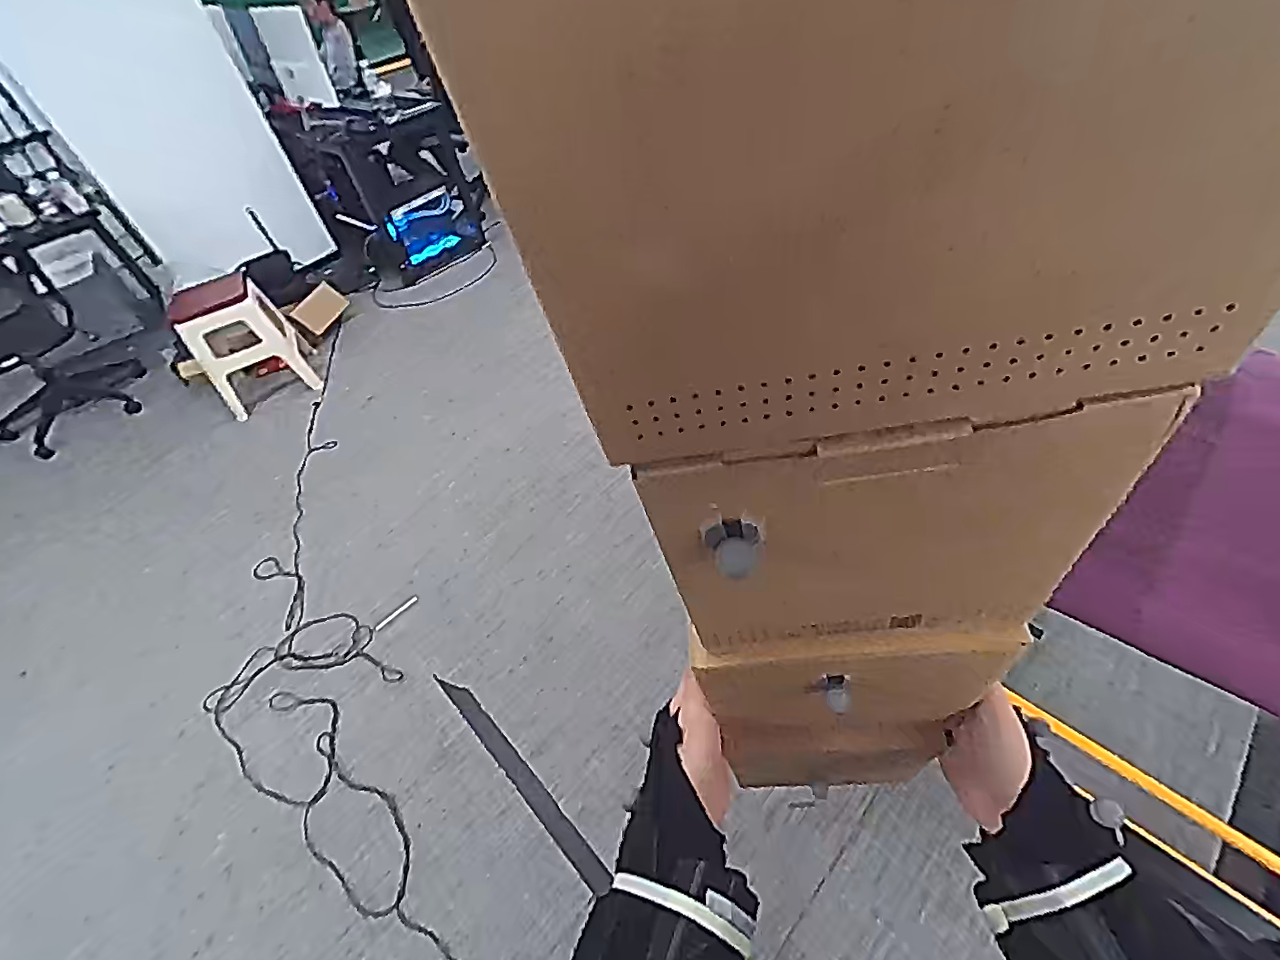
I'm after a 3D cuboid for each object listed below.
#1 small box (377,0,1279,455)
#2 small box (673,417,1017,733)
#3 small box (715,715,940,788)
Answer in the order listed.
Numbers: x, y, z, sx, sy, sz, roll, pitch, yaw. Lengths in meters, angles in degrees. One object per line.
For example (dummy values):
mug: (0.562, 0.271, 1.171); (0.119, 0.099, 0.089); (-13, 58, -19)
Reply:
small box: (0.051, -0.127, 0.150); (0.179, 0.176, 0.168); (-8, 50, 11)
small box: (0.126, 0.078, 0.398); (0.179, 0.176, 0.168); (-9, 52, 11)
small box: (0.158, 0.182, 0.519); (0.168, 0.176, 0.179); (-8, 52, 11)
